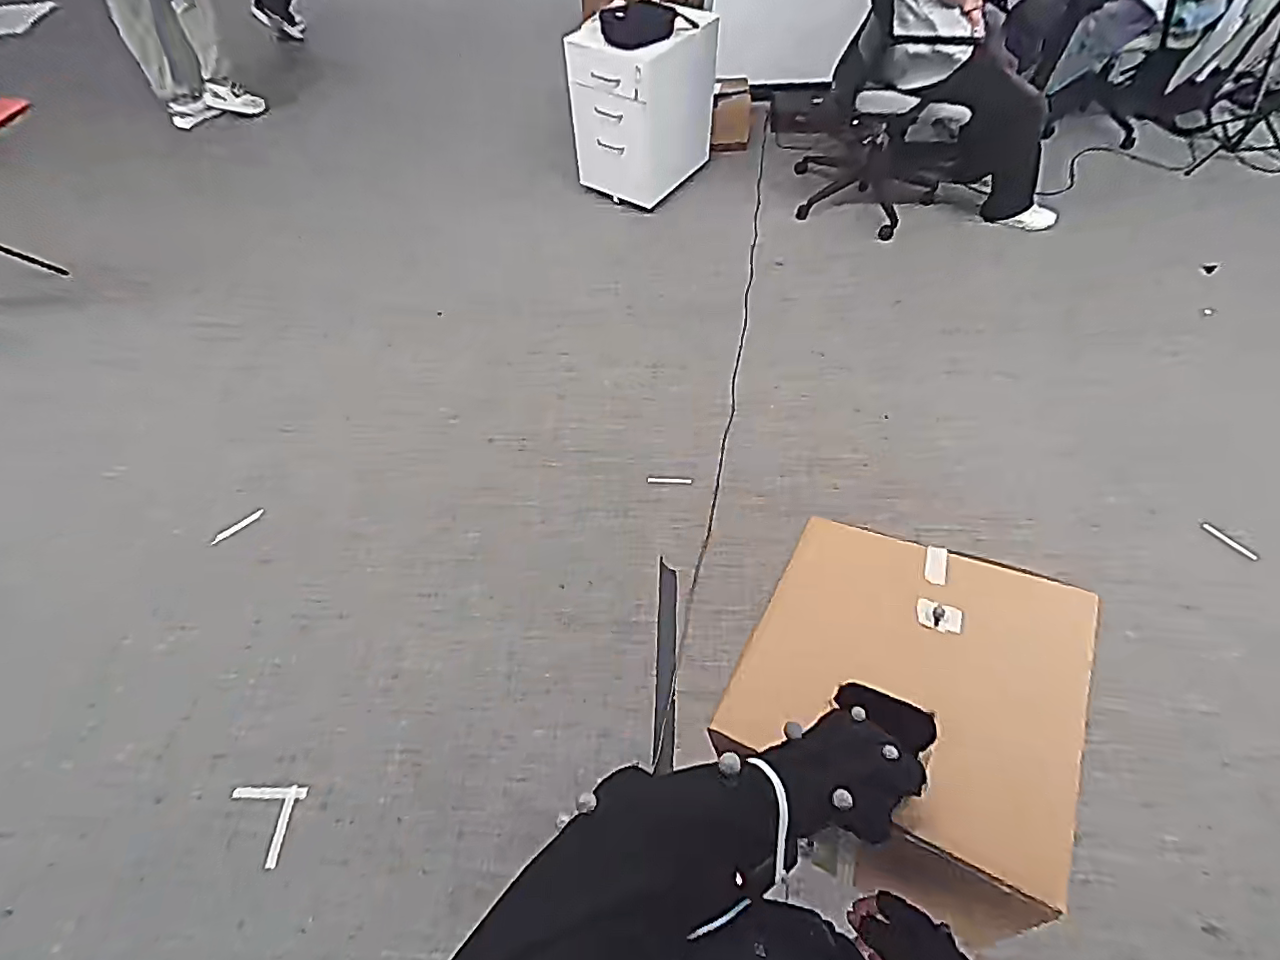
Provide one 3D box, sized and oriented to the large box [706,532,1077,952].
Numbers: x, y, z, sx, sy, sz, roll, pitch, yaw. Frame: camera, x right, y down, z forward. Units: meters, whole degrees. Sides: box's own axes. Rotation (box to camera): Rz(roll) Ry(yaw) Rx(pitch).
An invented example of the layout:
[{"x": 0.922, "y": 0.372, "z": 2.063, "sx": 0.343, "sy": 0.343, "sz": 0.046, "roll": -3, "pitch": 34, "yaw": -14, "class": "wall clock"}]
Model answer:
[{"x": 0.323, "y": 0.332, "z": 0.712, "sx": 0.320, "sy": 0.408, "sz": 0.320, "roll": 16, "pitch": 55, "yaw": 33, "class": "large box"}]
